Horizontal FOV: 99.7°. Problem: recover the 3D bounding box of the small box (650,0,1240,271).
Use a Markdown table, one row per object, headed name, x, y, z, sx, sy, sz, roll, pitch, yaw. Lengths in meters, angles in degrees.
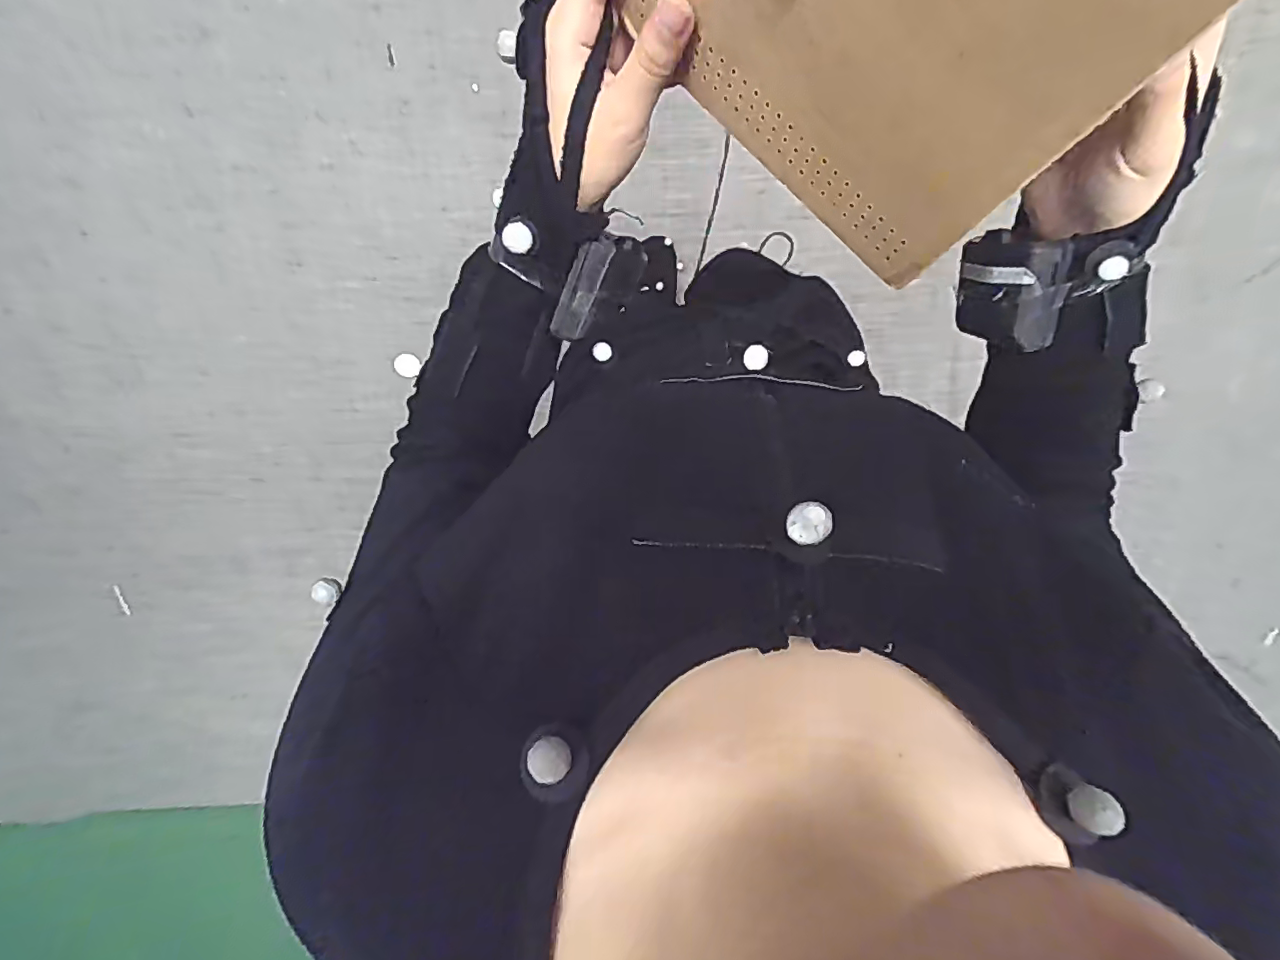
| name | x | y | z | sx | sy | sz | roll | pitch | yaw |
| --- | --- | --- | --- | --- | --- | --- | --- | --- | --- |
| small box | 0.112 | -0.204 | 0.168 | 0.179 | 0.176 | 0.168 | 45 | 89 | 3 |
